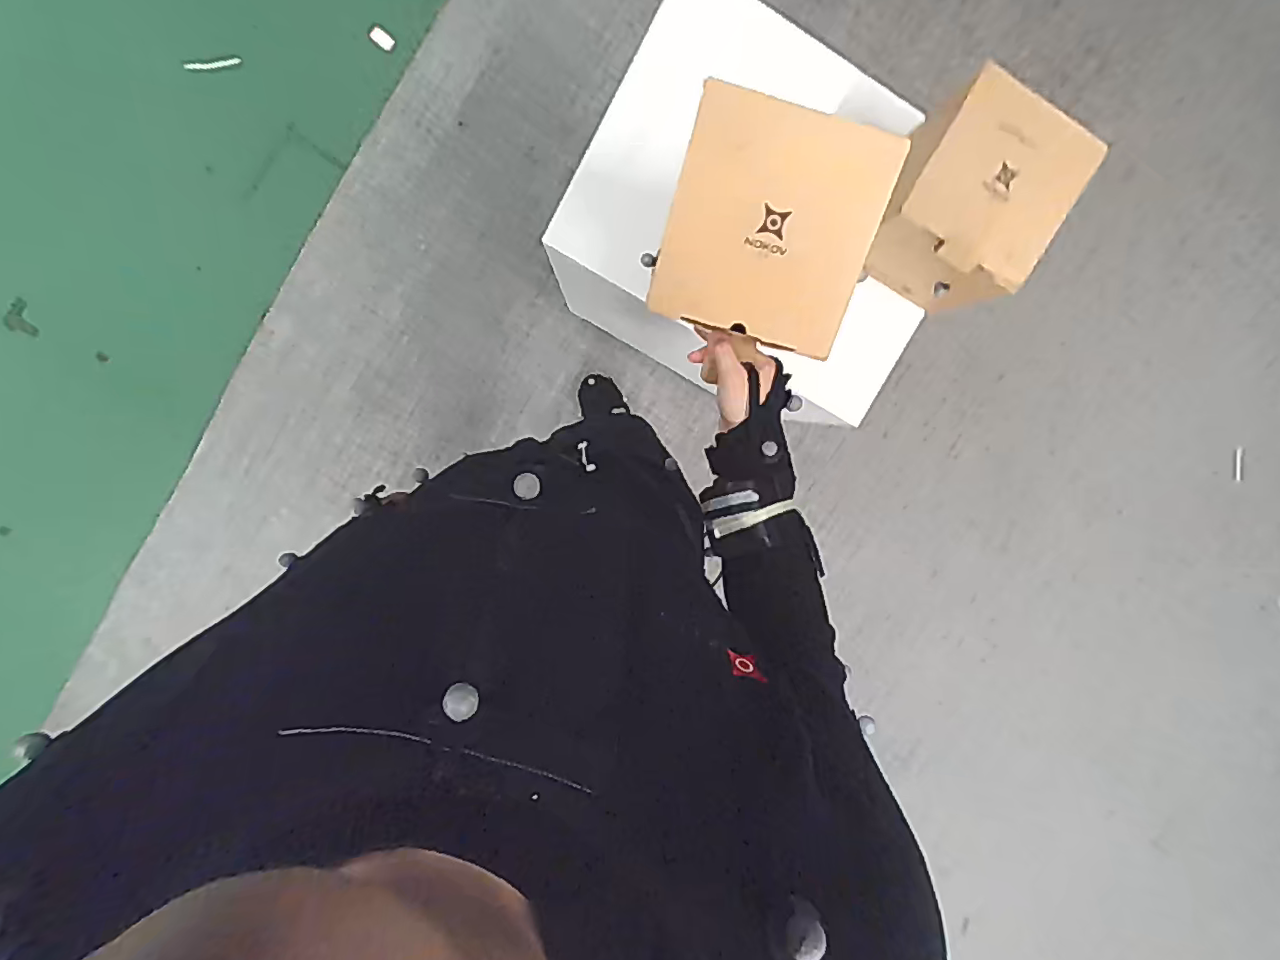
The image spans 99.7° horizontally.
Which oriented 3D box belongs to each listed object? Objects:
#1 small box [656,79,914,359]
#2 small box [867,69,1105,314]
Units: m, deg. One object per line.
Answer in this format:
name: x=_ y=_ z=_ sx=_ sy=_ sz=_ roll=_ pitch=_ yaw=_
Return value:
small box: x=0.115 y=-0.231 z=0.515 sx=0.168 sy=0.176 sz=0.179 roll=15 pitch=109 yaw=-2
small box: x=0.383 y=-0.325 z=0.655 sx=0.168 sy=0.176 sz=0.179 roll=30 pitch=94 yaw=-9
